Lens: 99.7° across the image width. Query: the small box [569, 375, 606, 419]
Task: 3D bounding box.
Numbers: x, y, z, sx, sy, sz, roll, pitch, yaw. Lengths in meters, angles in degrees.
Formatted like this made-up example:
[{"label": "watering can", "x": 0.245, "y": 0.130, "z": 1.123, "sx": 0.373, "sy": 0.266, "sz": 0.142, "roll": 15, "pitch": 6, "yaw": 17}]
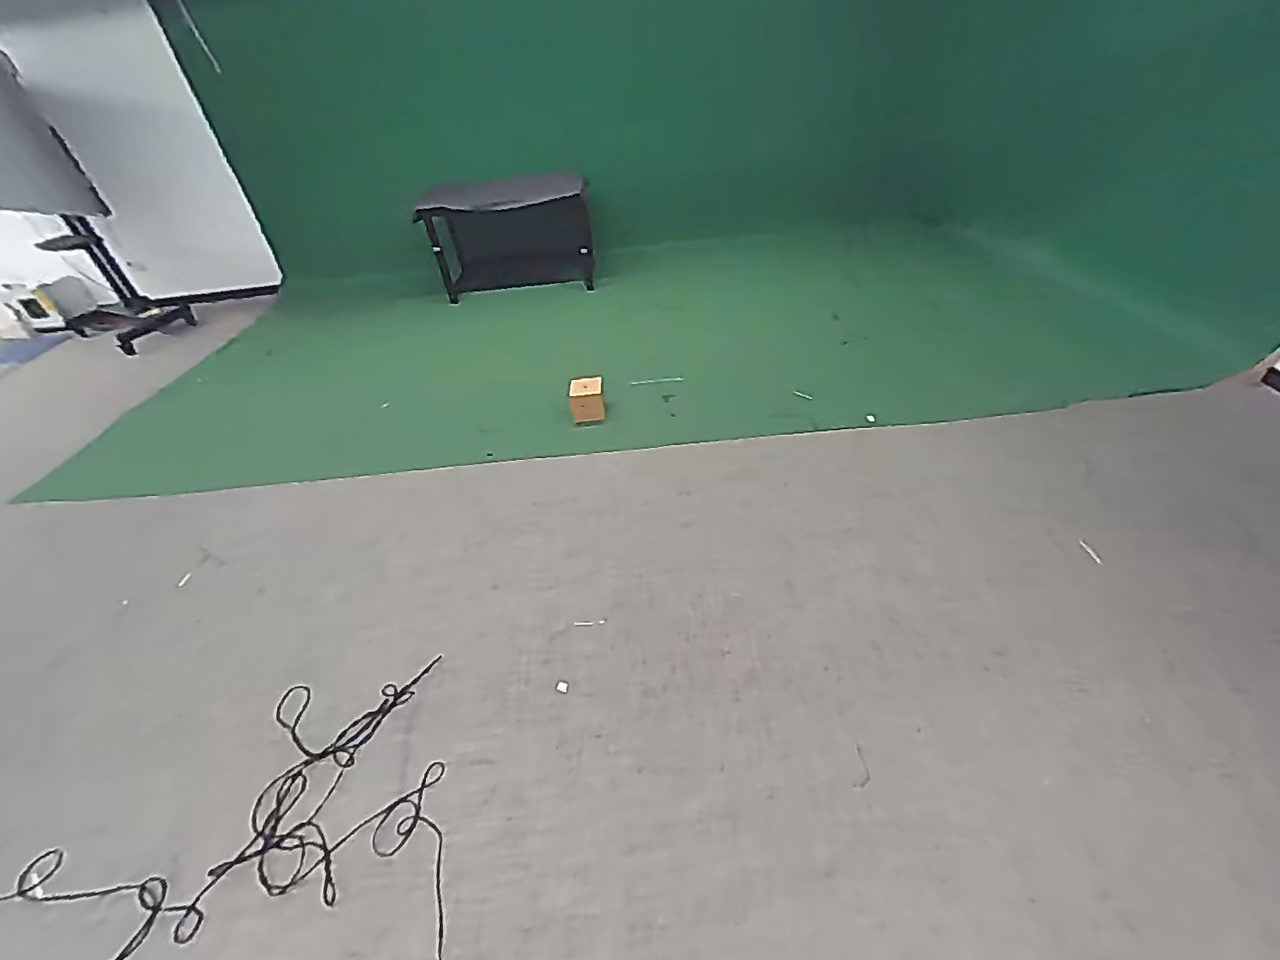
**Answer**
[{"label": "small box", "x": -0.273, "y": -0.432, "z": 2.861, "sx": 0.168, "sy": 0.176, "sz": 0.179, "roll": -6, "pitch": 38, "yaw": 2}]
